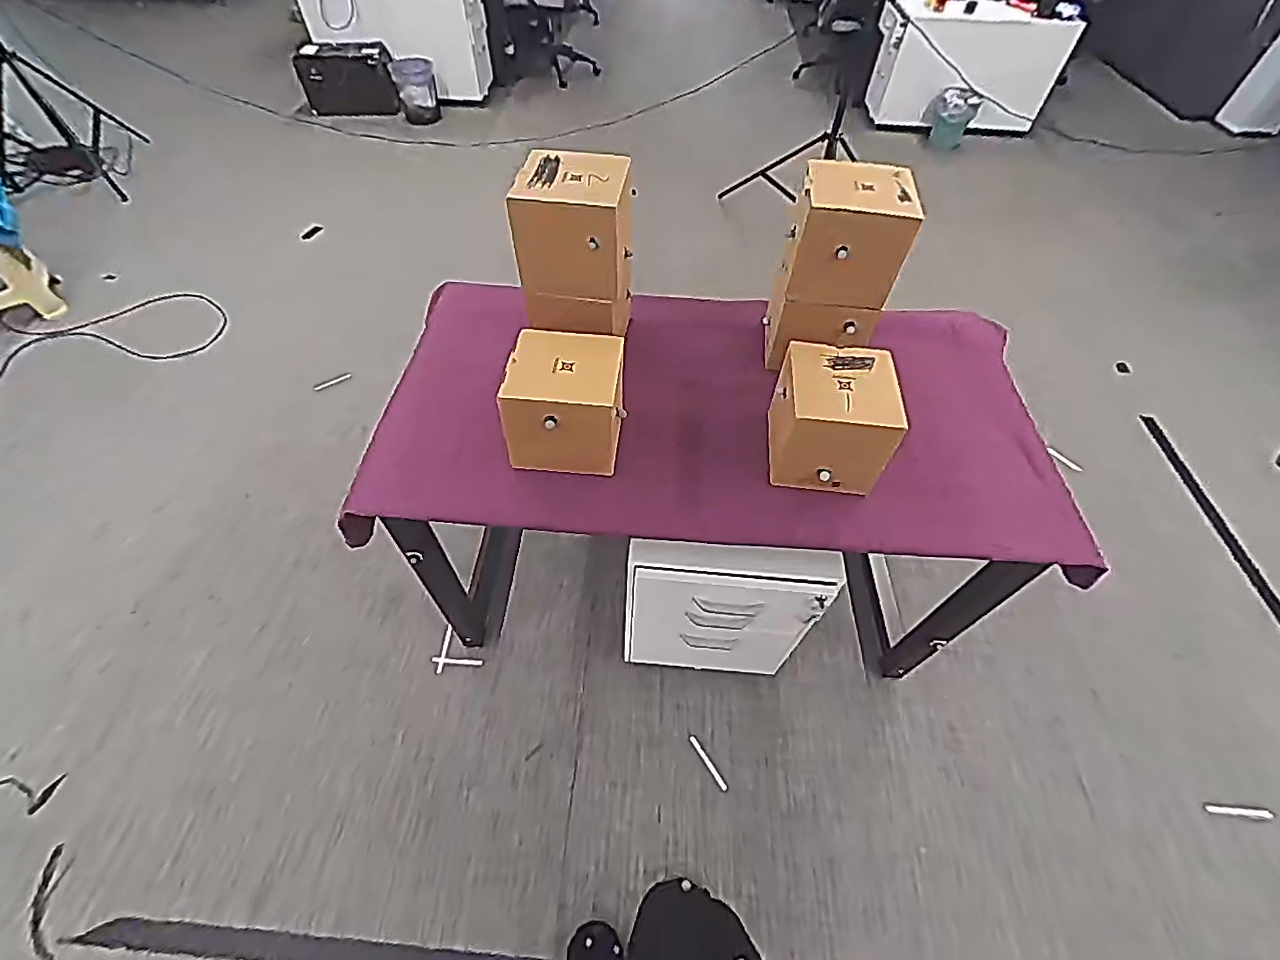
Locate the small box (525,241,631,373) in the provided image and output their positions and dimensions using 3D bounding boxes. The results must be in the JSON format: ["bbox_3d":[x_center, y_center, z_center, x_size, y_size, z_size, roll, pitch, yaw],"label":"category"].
[{"bbox_3d":[-0.113,-0.340,1.069,0.168,0.176,0.179,8,56,5],"label":"small box"}]

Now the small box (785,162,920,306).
[{"bbox_3d":[0.354,-0.424,0.939,0.179,0.176,0.168,7,55,5],"label":"small box"}]

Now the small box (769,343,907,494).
[{"bbox_3d":[0.315,-0.100,0.901,0.168,0.176,0.179,6,53,3],"label":"small box"}]

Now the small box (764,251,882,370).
[{"bbox_3d":[0.352,-0.325,1.070,0.179,0.176,0.168,6,54,3],"label":"small box"}]
